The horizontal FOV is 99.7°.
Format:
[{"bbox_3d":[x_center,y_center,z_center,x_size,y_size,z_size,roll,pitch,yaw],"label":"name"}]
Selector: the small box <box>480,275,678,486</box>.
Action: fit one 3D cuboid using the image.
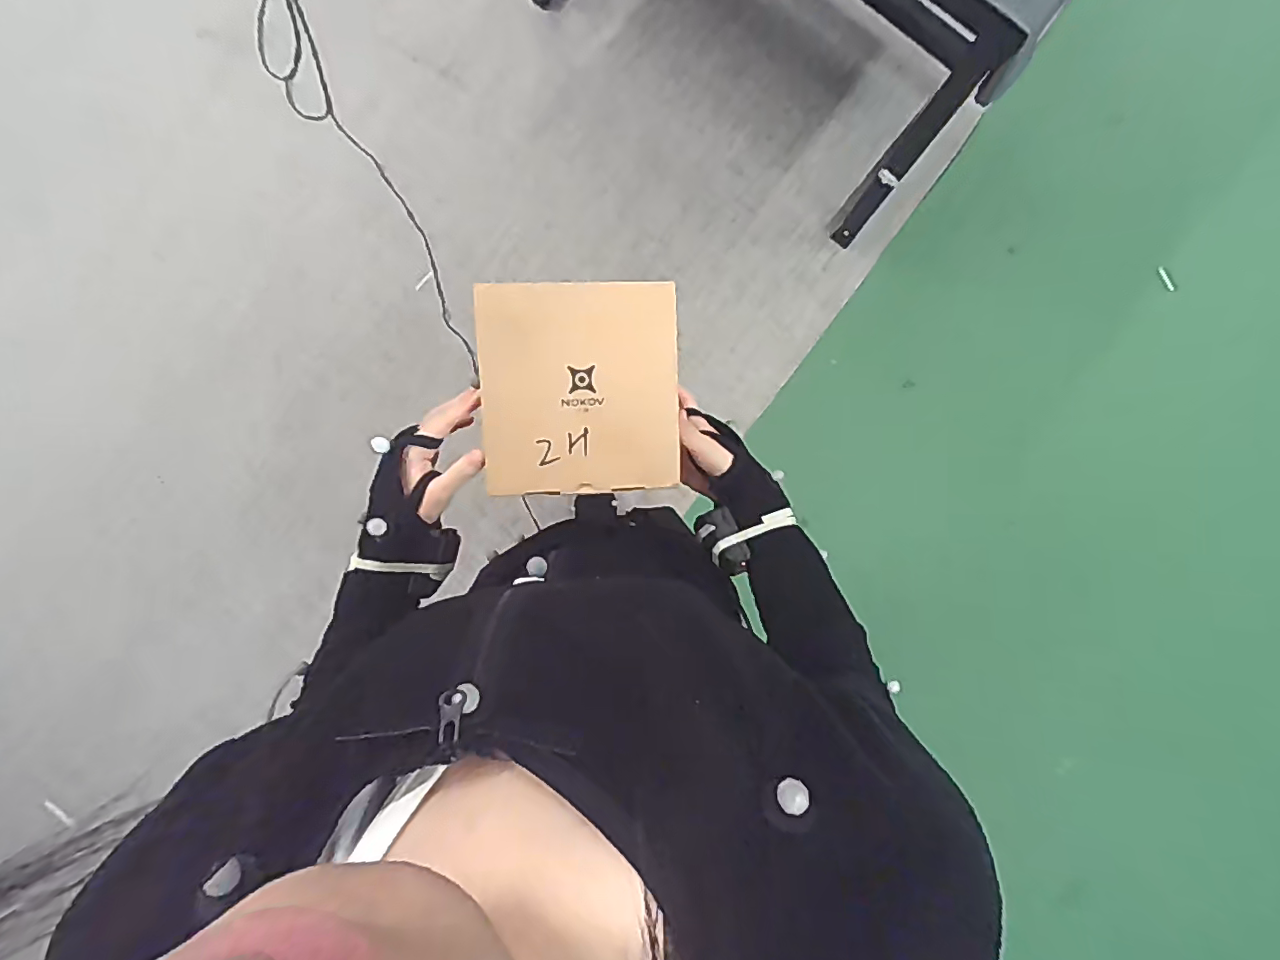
[{"bbox_3d":[-0.056,-0.092,0.536,0.168,0.176,0.179,-2,98,-4],"label":"small box"}]
